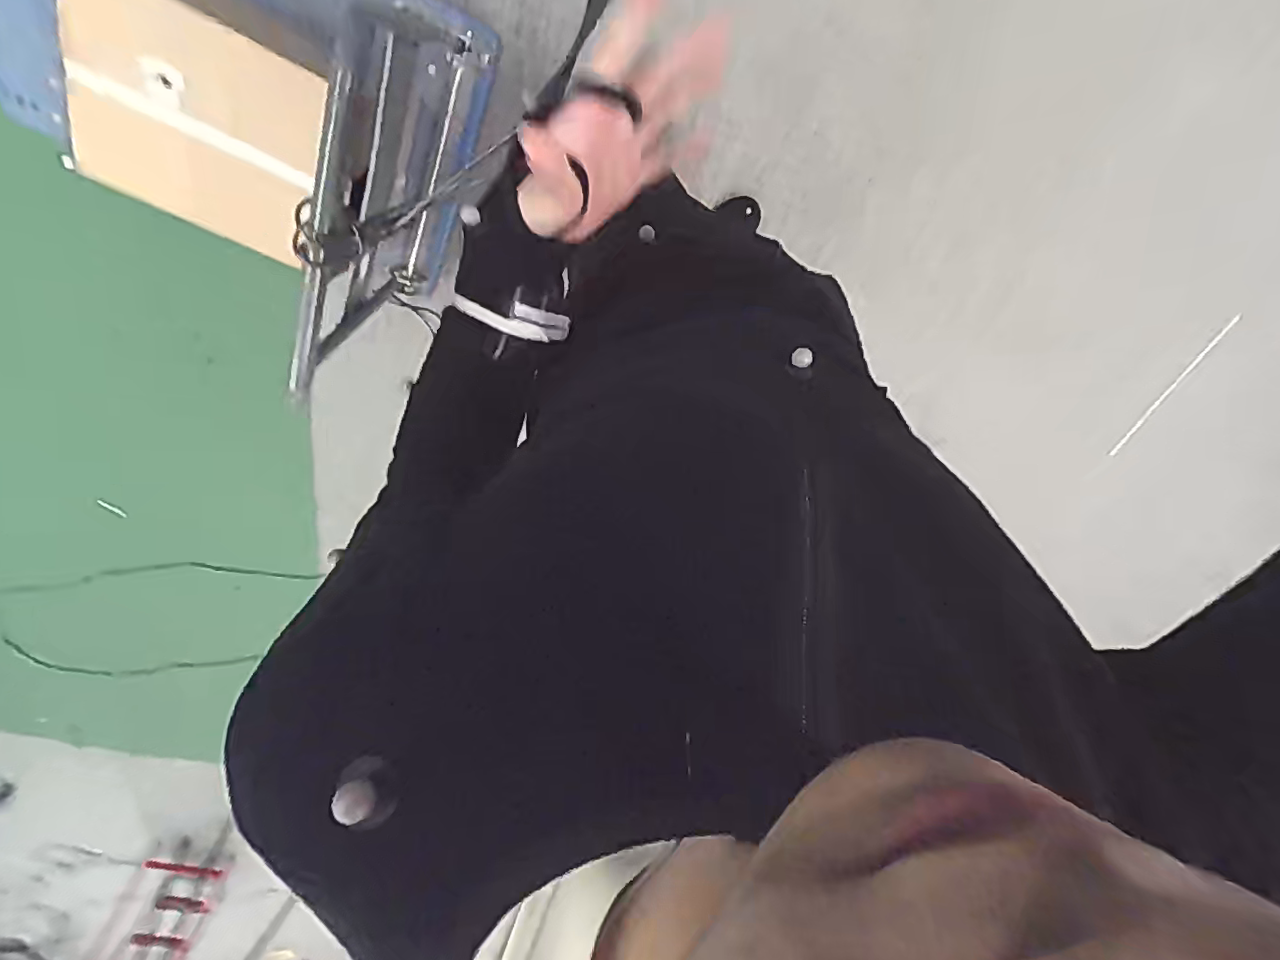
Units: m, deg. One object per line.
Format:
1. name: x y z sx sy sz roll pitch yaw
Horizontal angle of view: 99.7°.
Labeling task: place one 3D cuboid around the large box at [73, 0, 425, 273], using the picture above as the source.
1. large box: -0.668 -0.645 0.989 0.408 0.320 0.320 23 122 -15
